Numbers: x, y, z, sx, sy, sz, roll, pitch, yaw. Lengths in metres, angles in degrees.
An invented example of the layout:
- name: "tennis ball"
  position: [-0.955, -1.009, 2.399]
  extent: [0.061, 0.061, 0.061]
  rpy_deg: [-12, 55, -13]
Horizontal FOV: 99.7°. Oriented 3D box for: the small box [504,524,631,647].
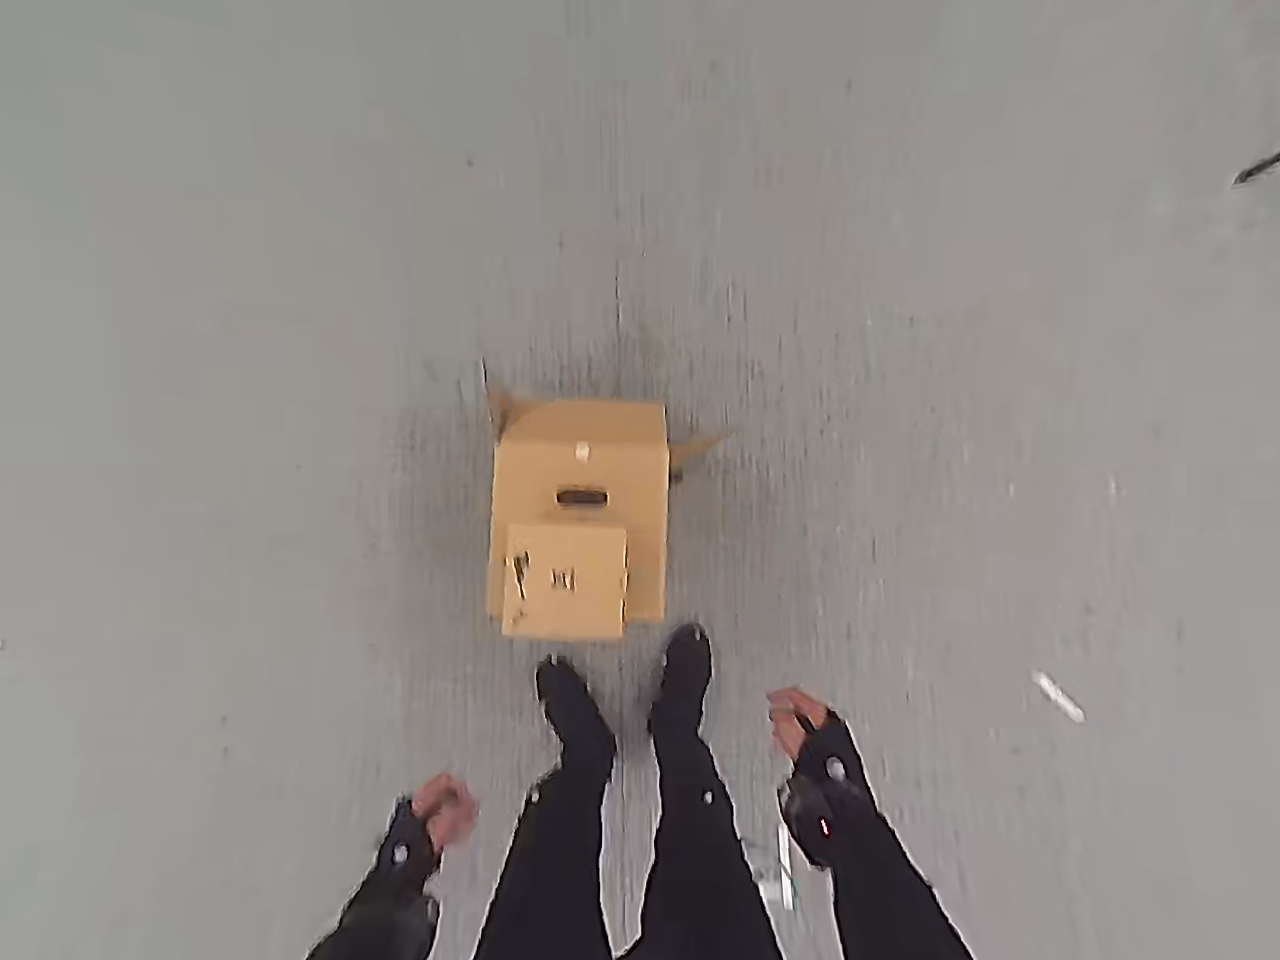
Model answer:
- name: "small box"
  position: [-0.108, 0.159, 0.862]
  extent: [0.179, 0.176, 0.168]
  rpy_deg: [3, 87, -2]
